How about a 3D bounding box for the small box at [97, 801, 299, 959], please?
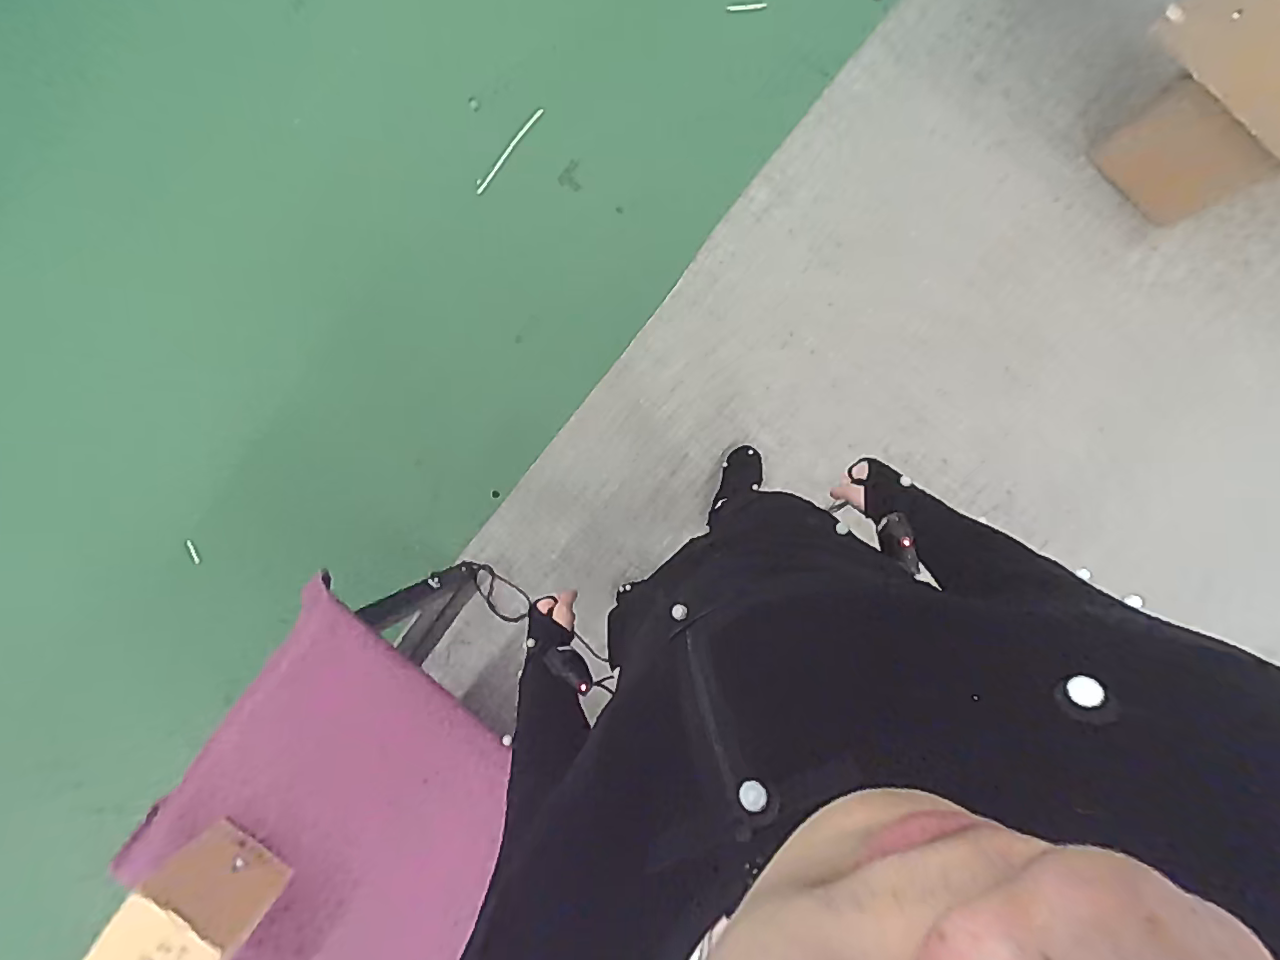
[{"bbox_3d":[-0.733,0.704,0.919,0.168,0.176,0.179,37,93,0],"label":"small box"}]
